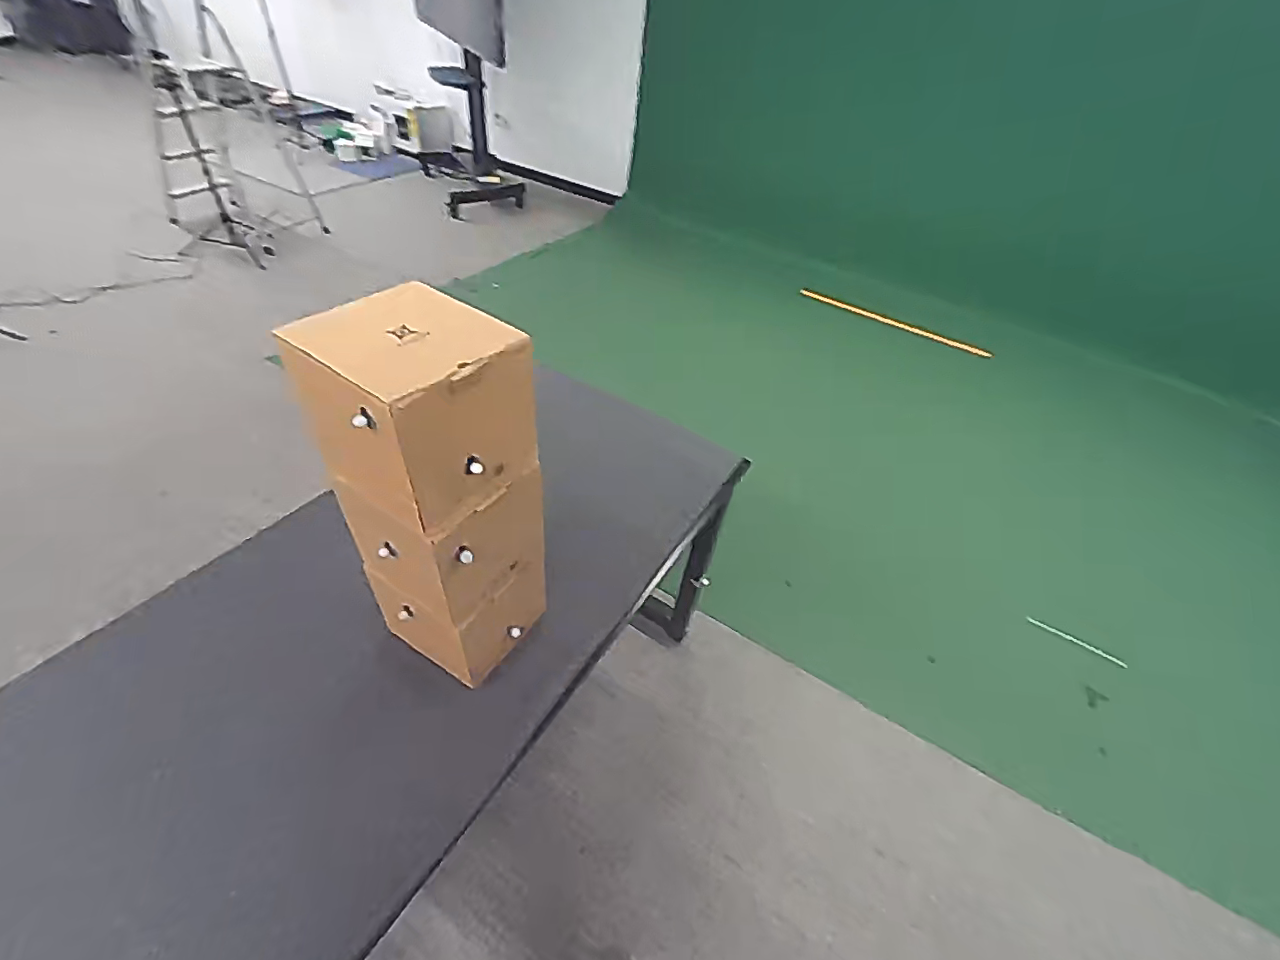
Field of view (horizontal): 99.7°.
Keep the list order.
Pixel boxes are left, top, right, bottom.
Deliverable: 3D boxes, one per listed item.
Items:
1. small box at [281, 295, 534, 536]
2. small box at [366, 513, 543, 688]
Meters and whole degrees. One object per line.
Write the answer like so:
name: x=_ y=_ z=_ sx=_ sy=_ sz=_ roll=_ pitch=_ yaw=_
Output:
small box: x=-0.232 y=-0.071 z=0.579 sx=0.179 sy=0.176 sz=0.168 roll=29 pitch=47 yaw=21
small box: x=-0.261 y=0.171 z=0.797 sx=0.179 sy=0.176 sz=0.168 roll=27 pitch=47 yaw=18
